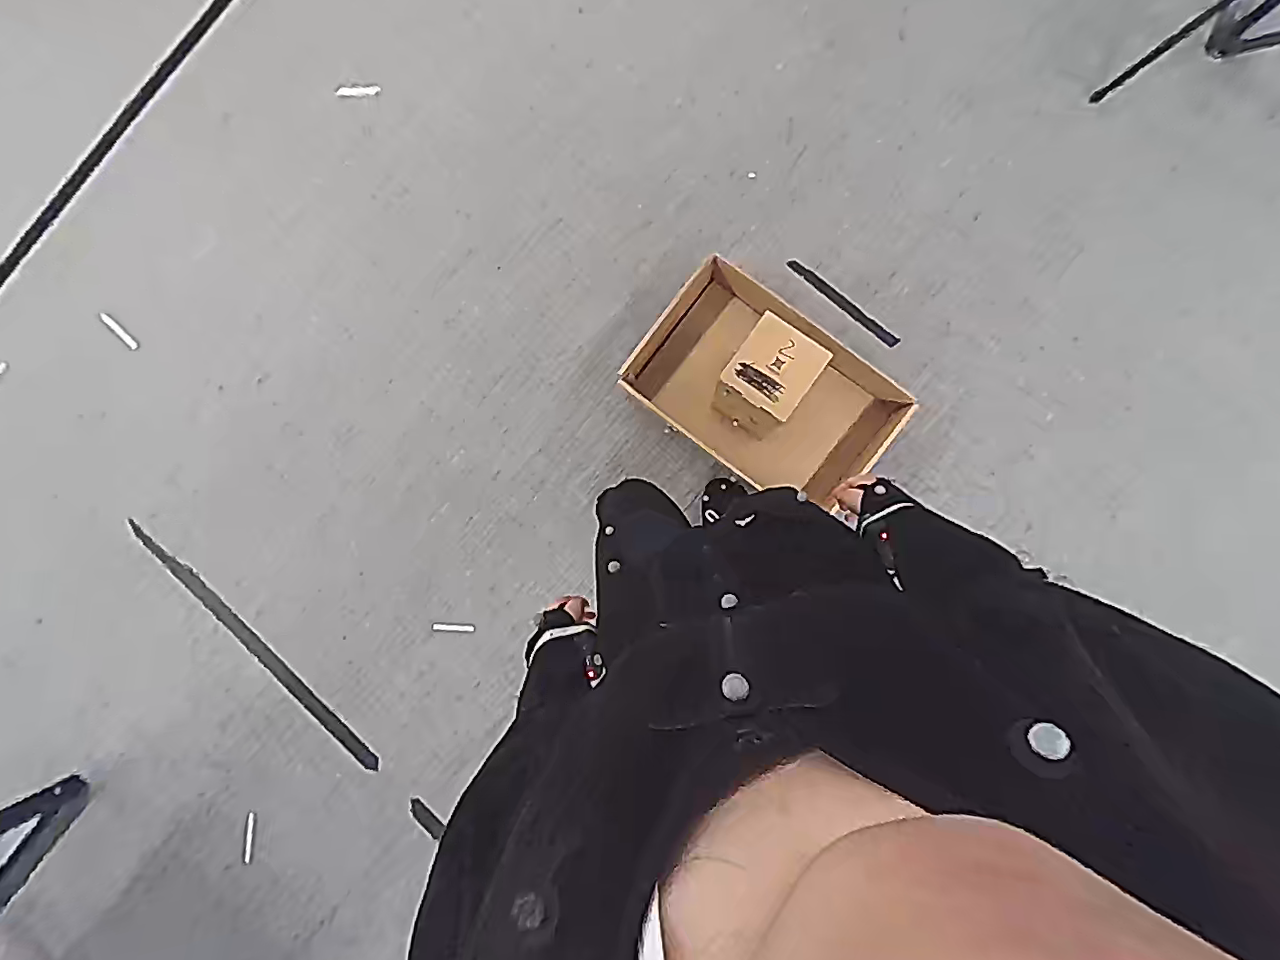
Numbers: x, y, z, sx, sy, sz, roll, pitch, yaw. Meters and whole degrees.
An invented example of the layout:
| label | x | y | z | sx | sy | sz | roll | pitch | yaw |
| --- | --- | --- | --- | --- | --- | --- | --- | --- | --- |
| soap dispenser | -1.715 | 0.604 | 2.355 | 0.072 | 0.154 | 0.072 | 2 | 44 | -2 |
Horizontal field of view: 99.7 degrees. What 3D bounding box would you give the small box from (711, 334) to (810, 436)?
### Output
| label | x | y | z | sx | sy | sz | roll | pitch | yaw |
| --- | --- | --- | --- | --- | --- | --- | --- | --- | --- |
| small box | 0.289 | -0.229 | 1.349 | 0.168 | 0.176 | 0.179 | 36 | 91 | 4 |
